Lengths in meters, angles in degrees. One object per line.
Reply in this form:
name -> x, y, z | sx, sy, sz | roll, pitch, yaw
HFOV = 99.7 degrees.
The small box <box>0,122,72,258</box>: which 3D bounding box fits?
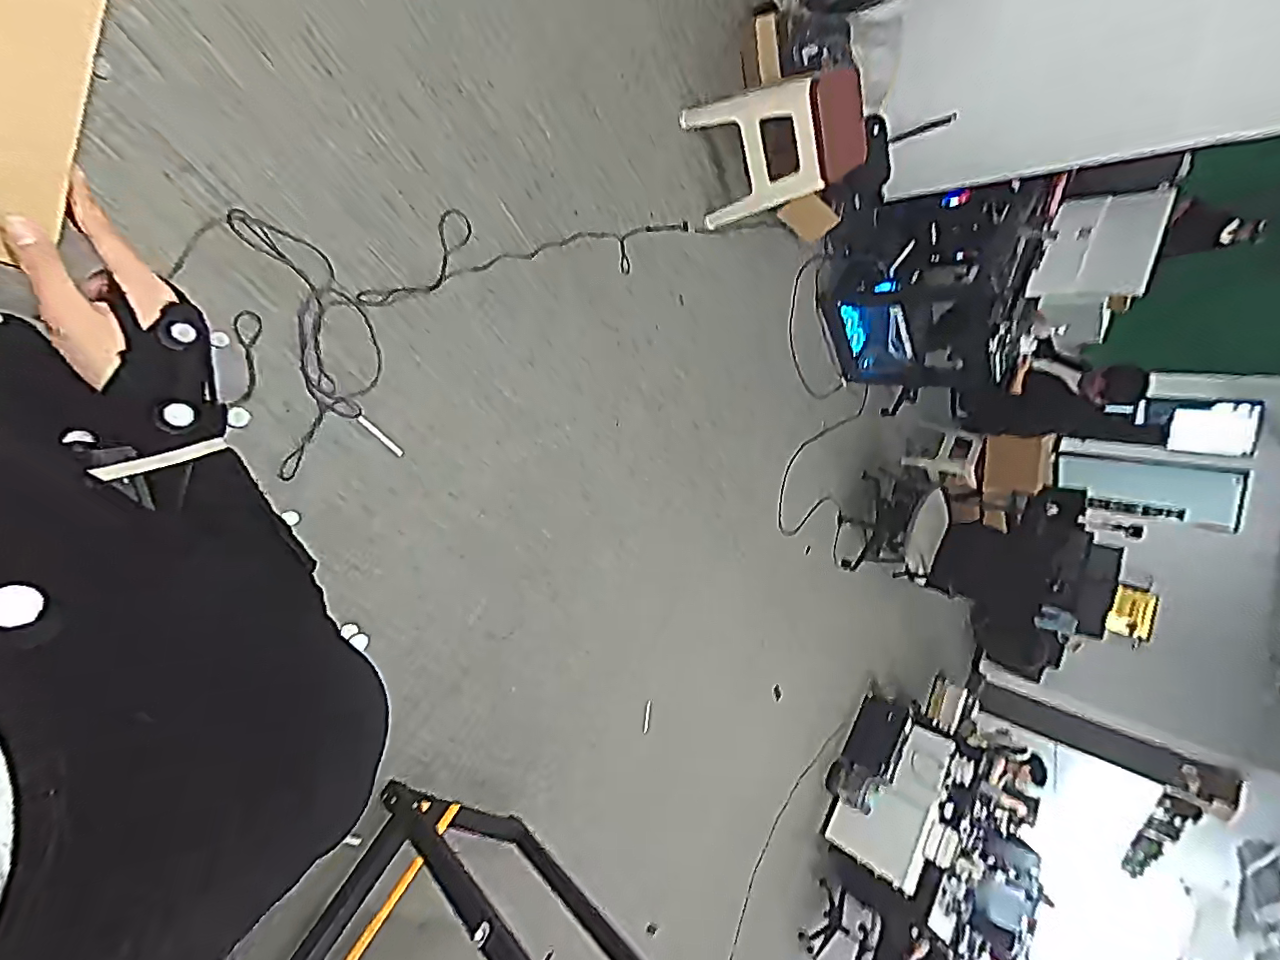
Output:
small box -> -0.989, -0.440, 0.789 | 0.179, 0.176, 0.168 | -56, 133, -20
